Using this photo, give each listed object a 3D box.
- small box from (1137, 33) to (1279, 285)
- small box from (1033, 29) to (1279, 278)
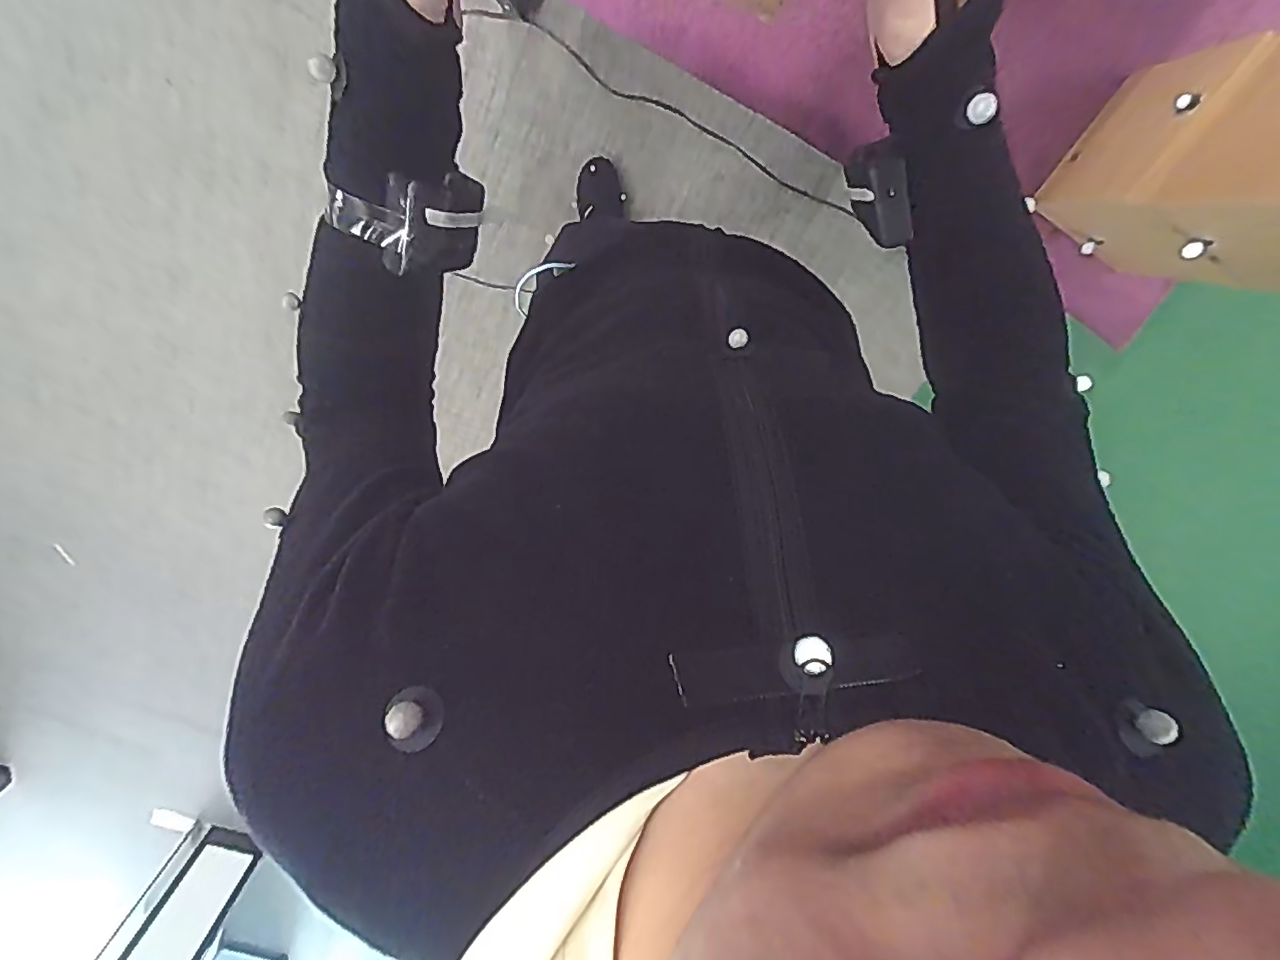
[{"bbox_3d":[0.625,-0.292,0.482,0.168,0.176,0.179,28,114,-10],"label":"small box"},{"bbox_3d":[0.626,-0.363,0.630,0.179,0.176,0.168,28,113,-12],"label":"small box"}]
